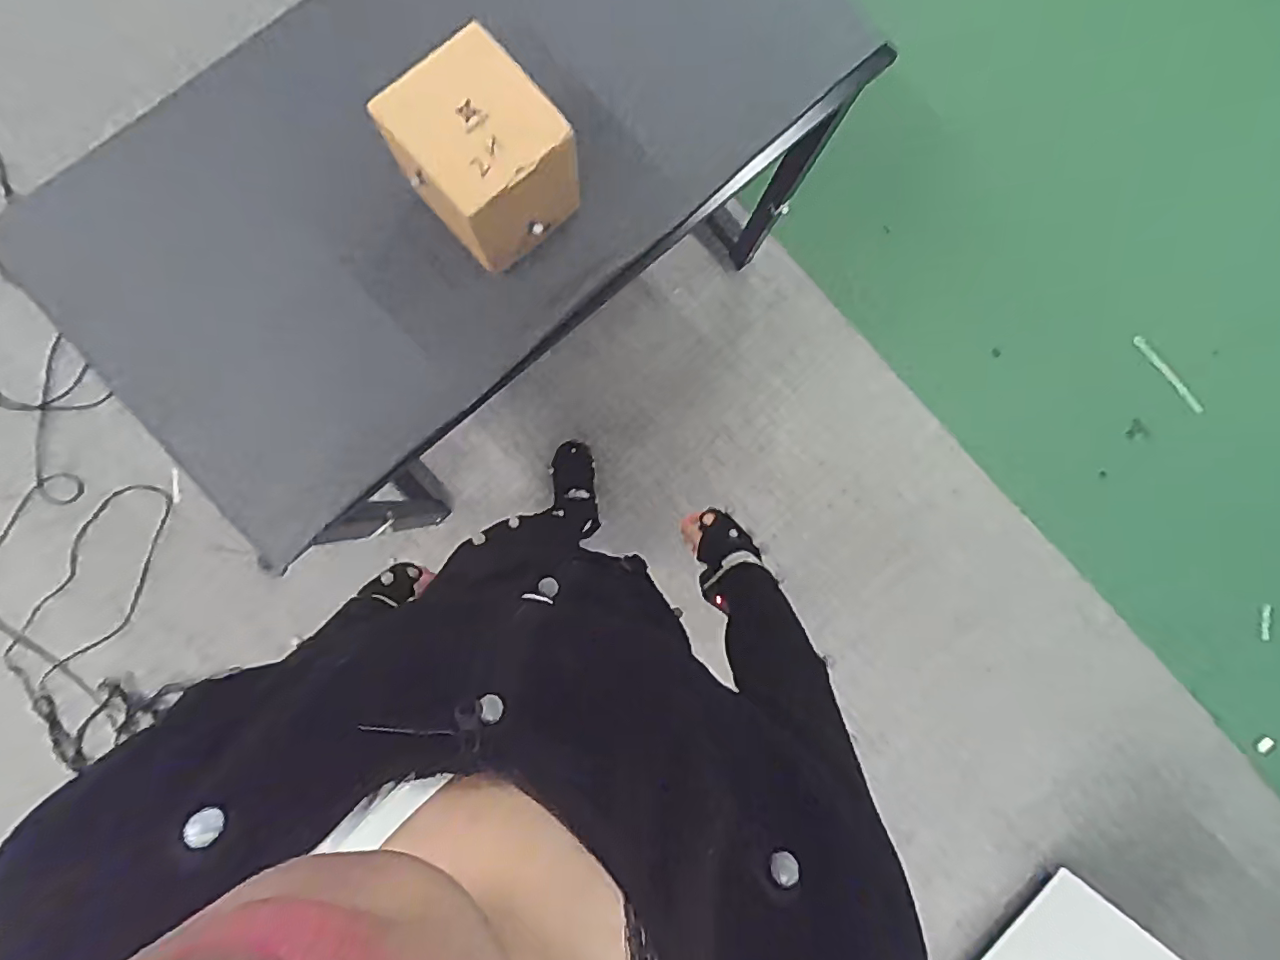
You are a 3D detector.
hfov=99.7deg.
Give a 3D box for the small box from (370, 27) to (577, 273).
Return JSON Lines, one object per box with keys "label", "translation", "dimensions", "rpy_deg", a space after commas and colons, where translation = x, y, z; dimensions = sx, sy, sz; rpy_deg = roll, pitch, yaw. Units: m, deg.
{"label": "small box", "translation": [-0.199, -0.409, 0.702], "dimensions": [0.168, 0.176, 0.179], "rpy_deg": [-42, 91, -5]}
